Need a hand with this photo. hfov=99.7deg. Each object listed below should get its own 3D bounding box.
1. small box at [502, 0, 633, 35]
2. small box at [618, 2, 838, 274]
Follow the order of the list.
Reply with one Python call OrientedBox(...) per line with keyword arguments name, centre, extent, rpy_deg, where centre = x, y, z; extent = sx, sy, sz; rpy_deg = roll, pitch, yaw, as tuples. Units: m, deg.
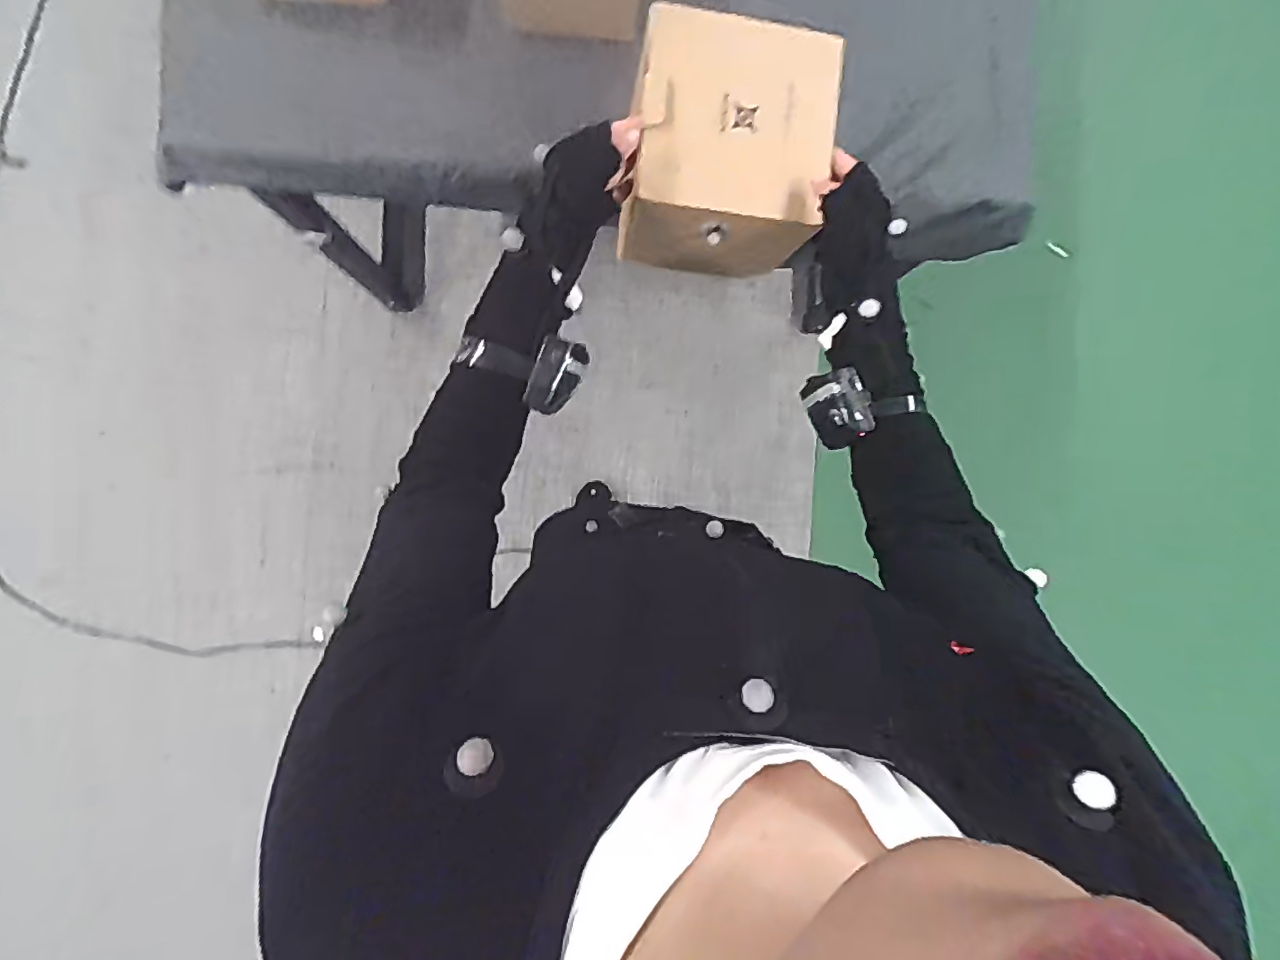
OrientedBox(name="small box", centre=(-0.091, -0.699, 0.668), extent=(0.179, 0.176, 0.168), rpy_deg=(1, 90, -6))
OrientedBox(name="small box", centre=(0.075, -0.326, 0.556), extent=(0.179, 0.176, 0.168), rpy_deg=(4, 94, -9))
